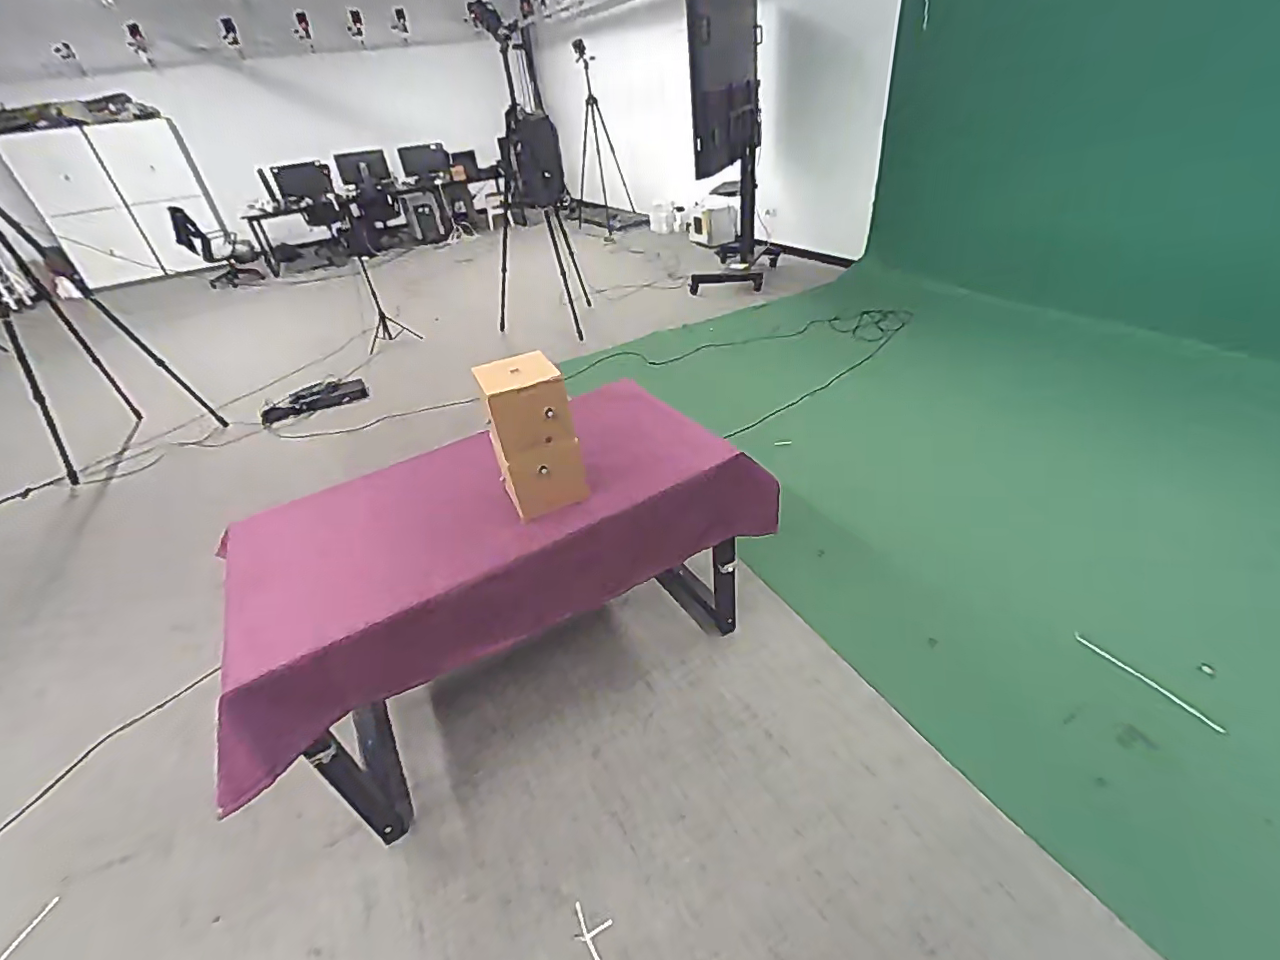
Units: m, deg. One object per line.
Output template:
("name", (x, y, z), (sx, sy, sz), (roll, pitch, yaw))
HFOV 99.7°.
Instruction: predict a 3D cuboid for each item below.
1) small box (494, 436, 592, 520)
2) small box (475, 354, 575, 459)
("small box", (-0.236, -0.028, 1.325), (0.179, 0.176, 0.168), (-21, 38, -17))
("small box", (-0.260, -0.164, 1.237), (0.168, 0.176, 0.179), (-20, 36, -16))
